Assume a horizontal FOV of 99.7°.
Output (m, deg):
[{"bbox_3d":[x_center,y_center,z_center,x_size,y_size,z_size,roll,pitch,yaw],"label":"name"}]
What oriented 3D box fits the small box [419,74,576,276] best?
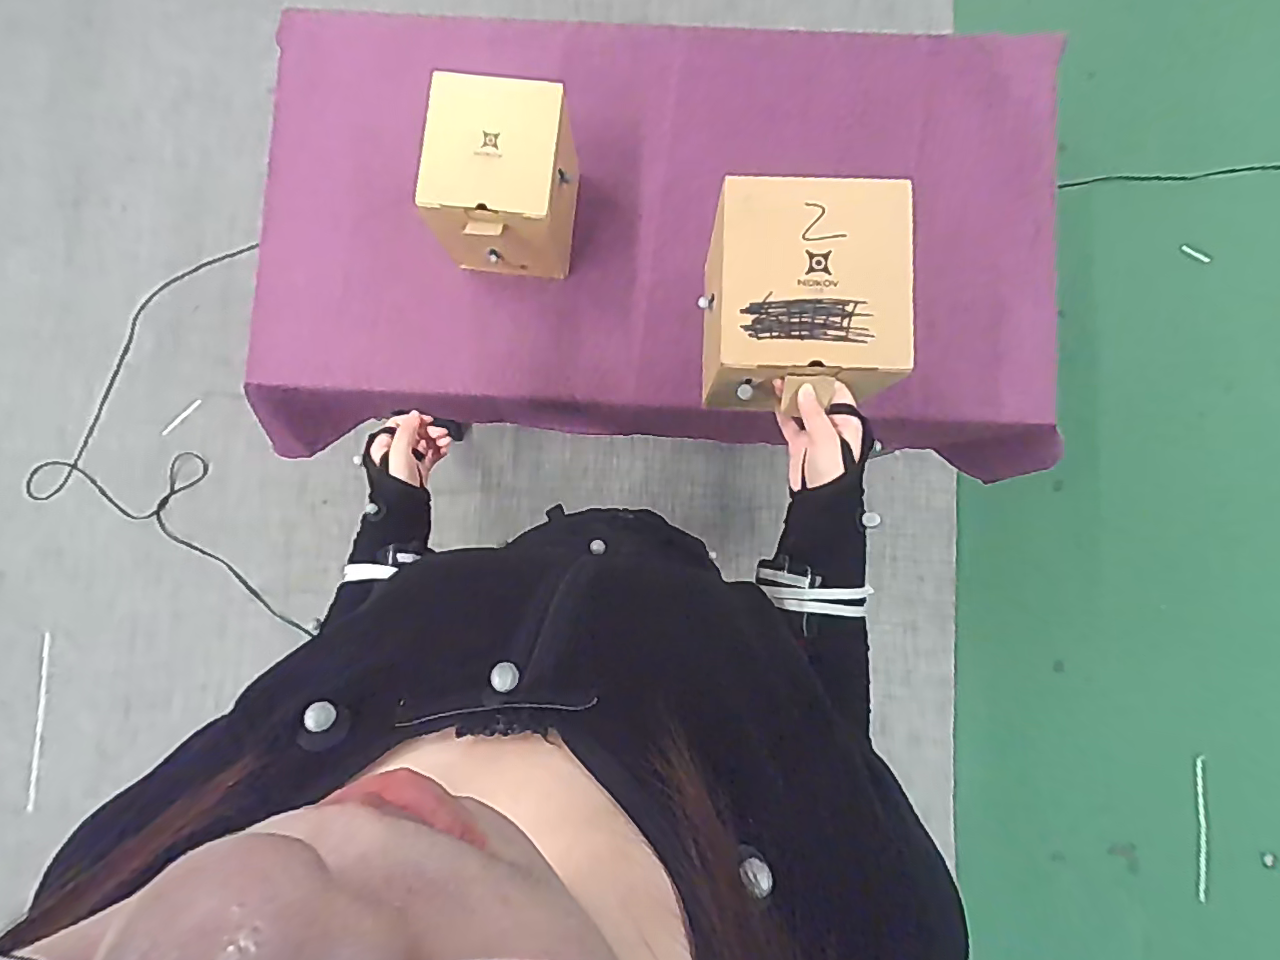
[{"bbox_3d":[-0.187,-0.415,0.759,0.168,0.176,0.179,6,87,1],"label":"small box"}]
